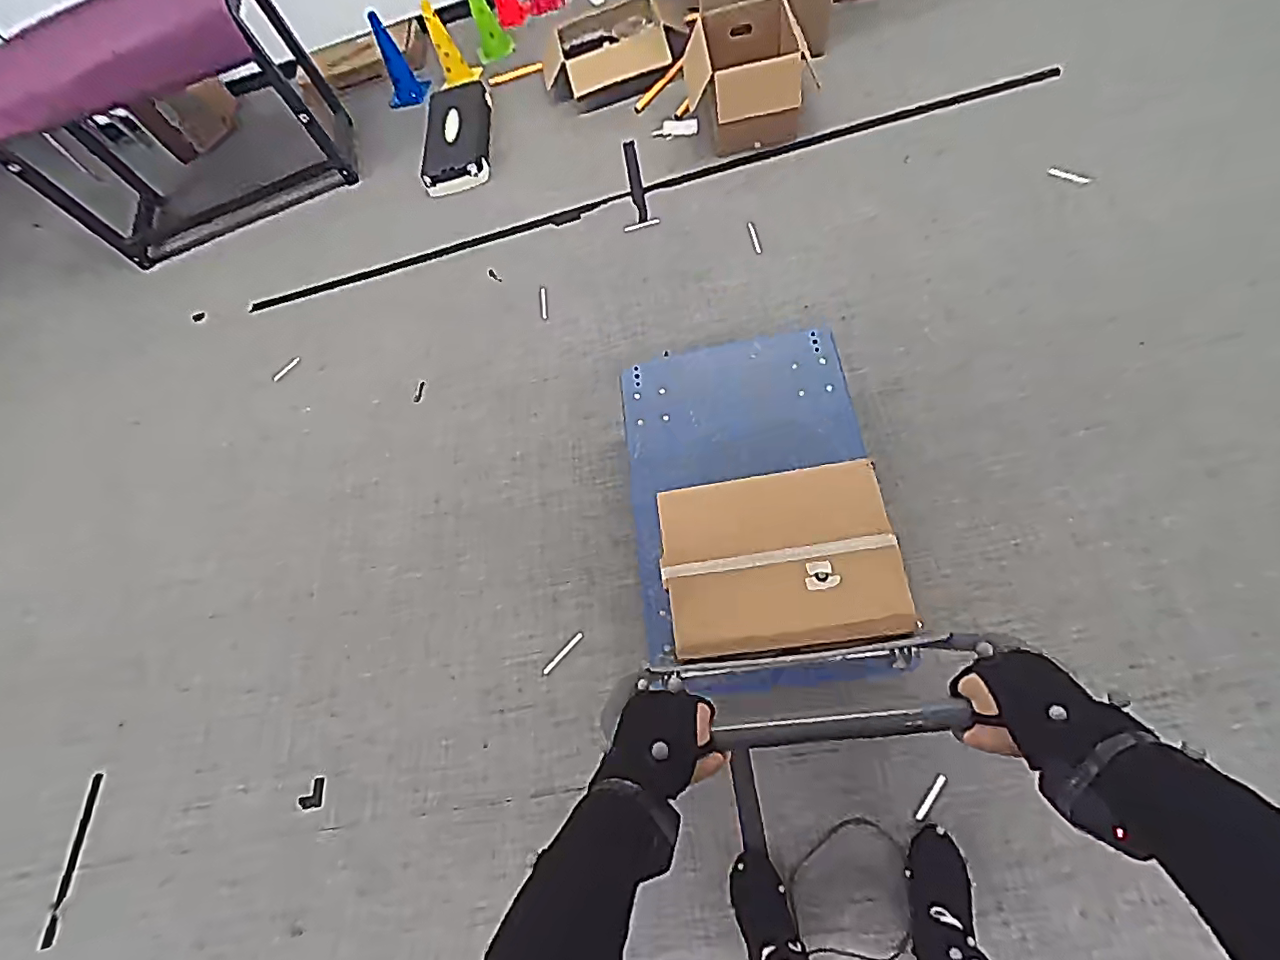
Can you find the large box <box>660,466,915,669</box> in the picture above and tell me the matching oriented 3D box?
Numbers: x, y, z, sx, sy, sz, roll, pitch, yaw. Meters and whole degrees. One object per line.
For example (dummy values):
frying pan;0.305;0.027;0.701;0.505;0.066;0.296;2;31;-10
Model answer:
large box;0.275;0.200;1.116;0.408;0.320;0.320;-10;69;7
